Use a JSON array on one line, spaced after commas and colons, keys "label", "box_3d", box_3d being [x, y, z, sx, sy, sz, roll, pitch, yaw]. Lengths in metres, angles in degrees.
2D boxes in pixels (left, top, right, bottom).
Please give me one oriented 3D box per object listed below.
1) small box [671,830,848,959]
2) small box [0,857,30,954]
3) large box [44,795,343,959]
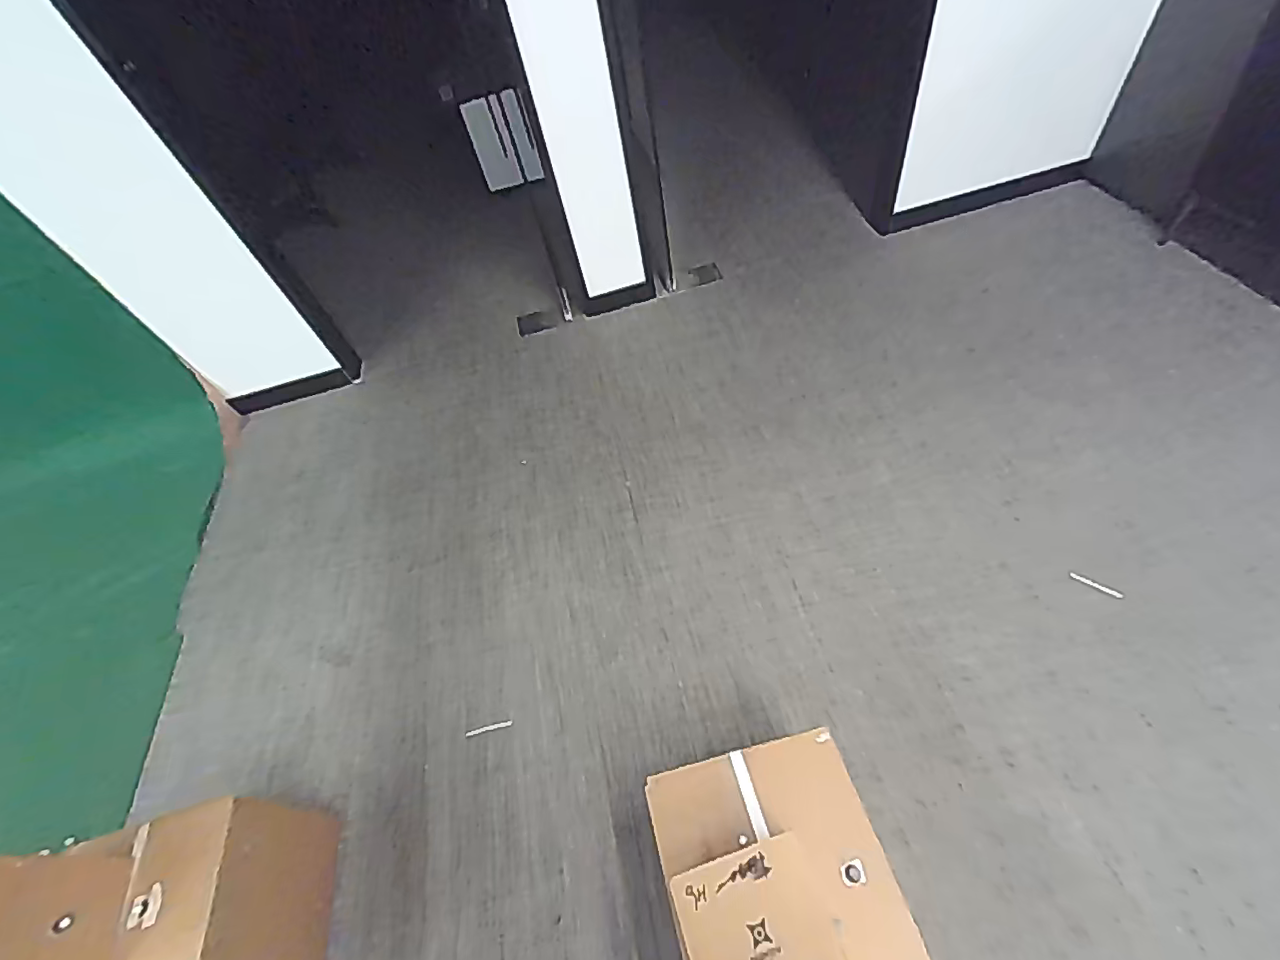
[{"label": "small box", "box_3d": [0.154, 0.556, 0.664, 0.168, 0.176, 0.179, -21, 53, -1]}, {"label": "small box", "box_3d": [-0.946, 0.589, 0.673, 0.168, 0.176, 0.179, -19, 53, 2]}, {"label": "large box", "box_3d": [-0.777, 0.845, 0.960, 0.320, 0.320, 0.408, -17, 51, 0]}]
